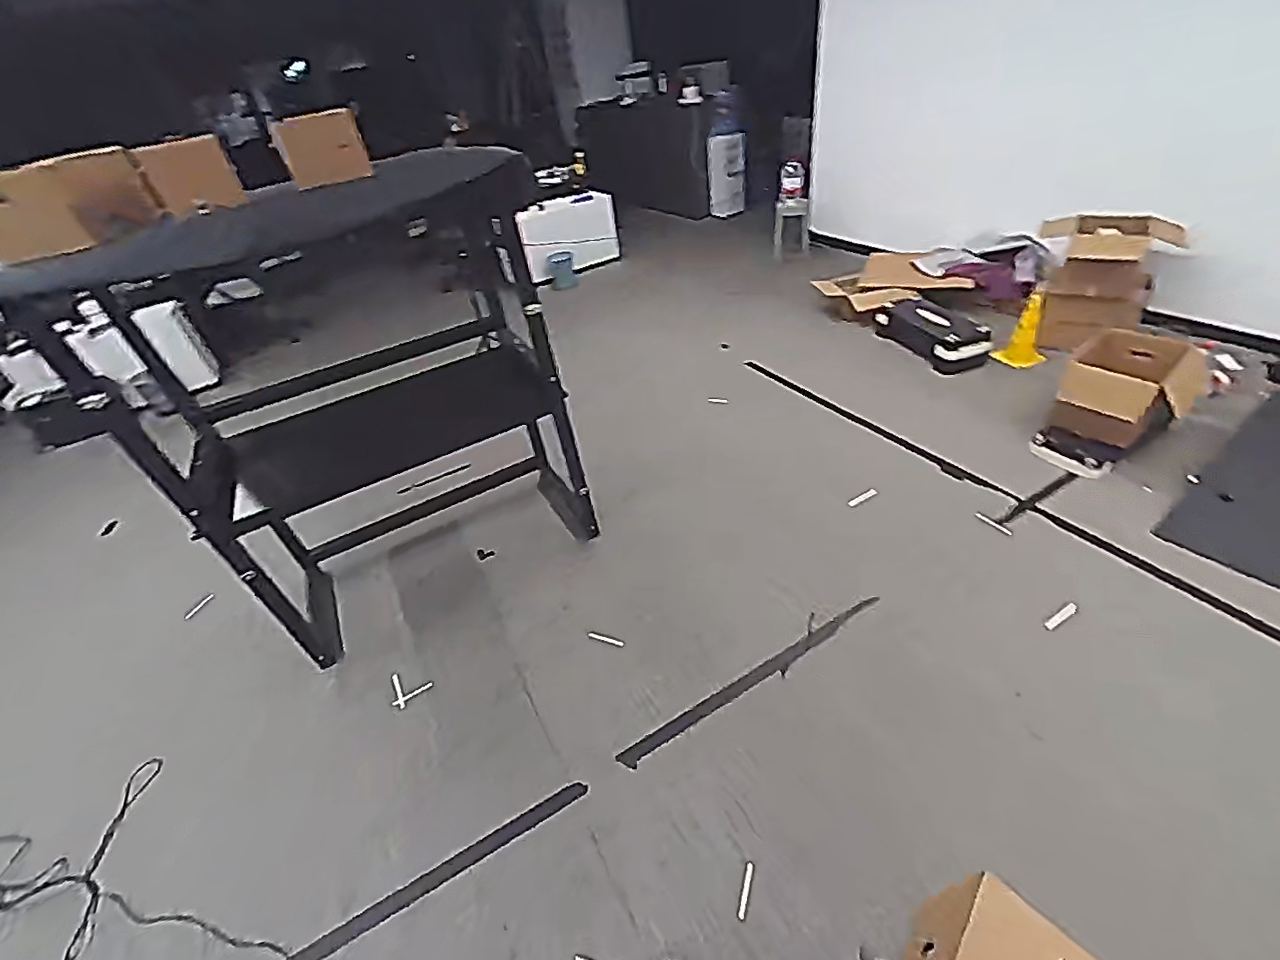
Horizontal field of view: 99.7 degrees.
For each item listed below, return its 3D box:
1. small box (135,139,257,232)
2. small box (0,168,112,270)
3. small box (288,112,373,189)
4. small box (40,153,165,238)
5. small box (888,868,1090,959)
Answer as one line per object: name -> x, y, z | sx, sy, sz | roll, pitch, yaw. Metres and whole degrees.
small box -> -1.067, -0.716, 1.315 | 0.168, 0.176, 0.179 | -29, 41, -21
small box -> -1.351, -0.583, 1.206 | 0.179, 0.176, 0.168 | -27, 41, -22
small box -> -0.931, -0.994, 1.634 | 0.168, 0.176, 0.179 | -26, 41, -19
small box -> -1.421, -0.757, 1.441 | 0.179, 0.176, 0.168 | -26, 41, -21
small box -> 0.359, 0.560, 0.553 | 0.168, 0.176, 0.179 | 34, 46, 27
